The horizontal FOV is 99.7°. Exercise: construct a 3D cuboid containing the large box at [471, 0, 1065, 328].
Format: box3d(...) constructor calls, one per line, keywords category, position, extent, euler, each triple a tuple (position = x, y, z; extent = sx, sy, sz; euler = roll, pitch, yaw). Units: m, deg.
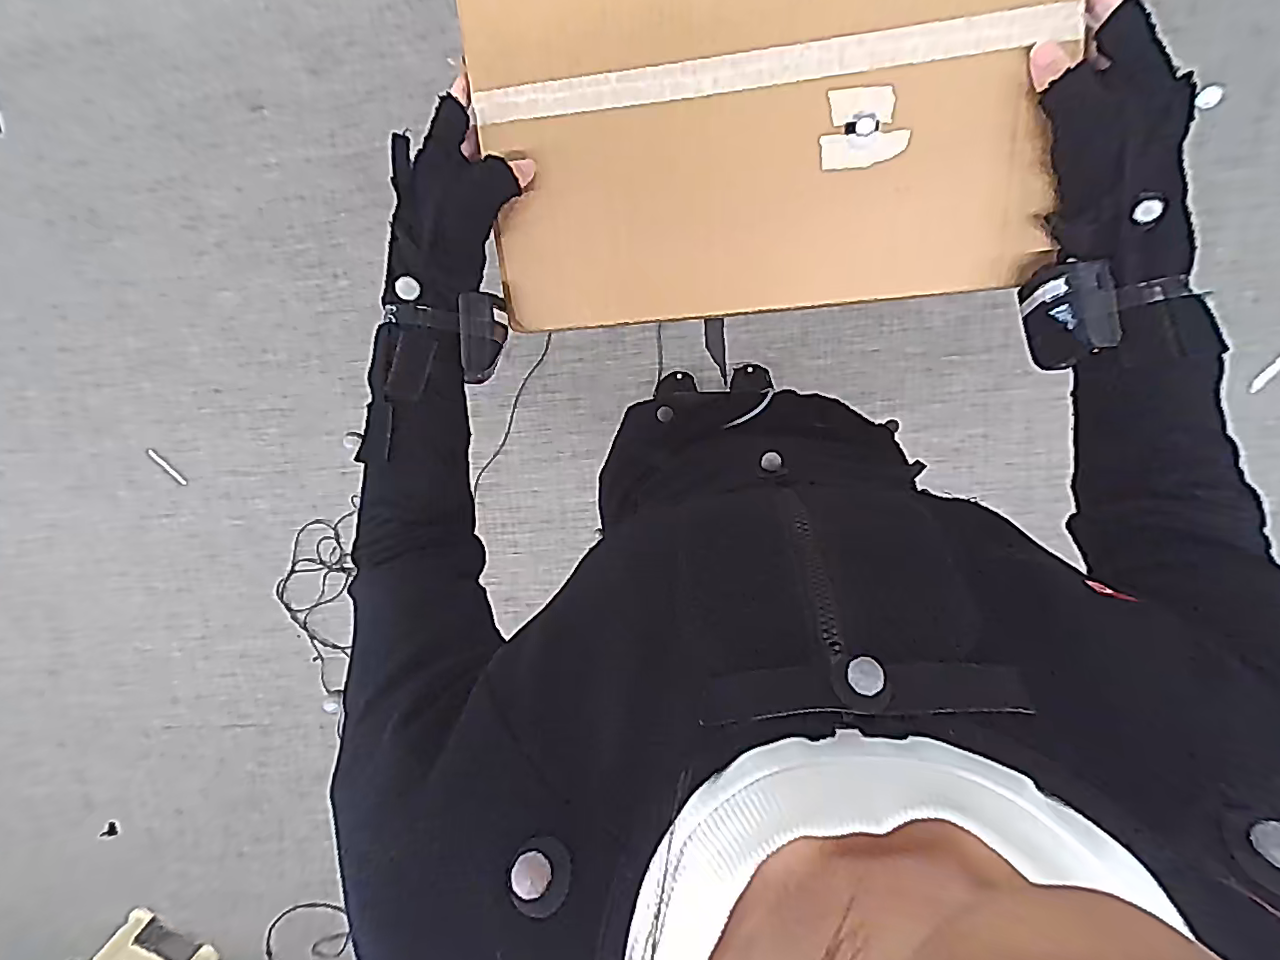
box3d(category="large box", position=(0.095, -0.329, 0.523), extent=(0.408, 0.320, 0.320), euler=(-4, 107, 6))
